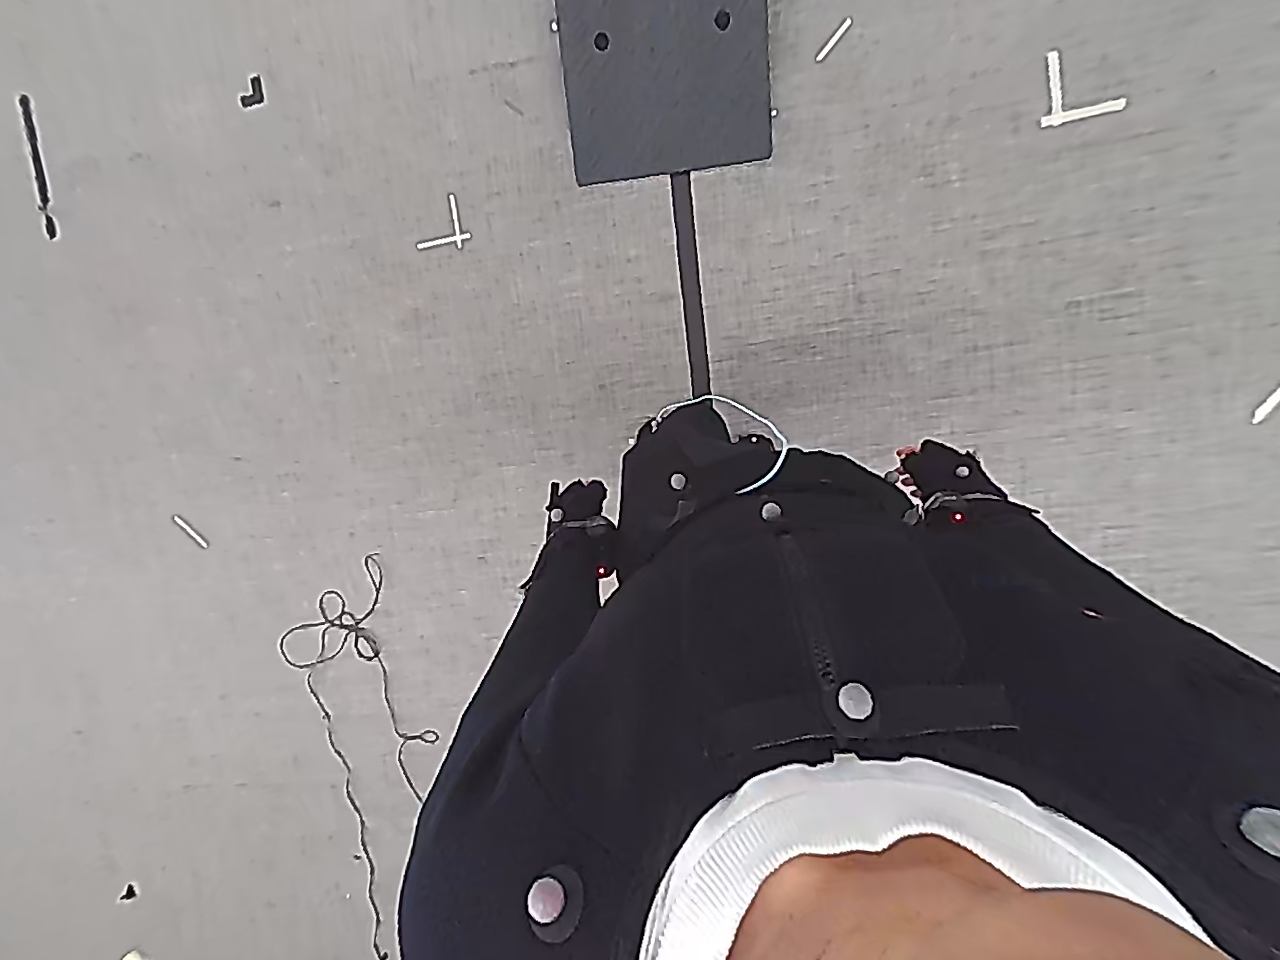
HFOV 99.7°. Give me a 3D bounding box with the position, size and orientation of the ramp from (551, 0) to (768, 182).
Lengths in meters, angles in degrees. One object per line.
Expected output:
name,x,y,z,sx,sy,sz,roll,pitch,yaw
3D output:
ramp,0.021,-1.250,1.203,0.509,0.206,0.991,-6,97,7
